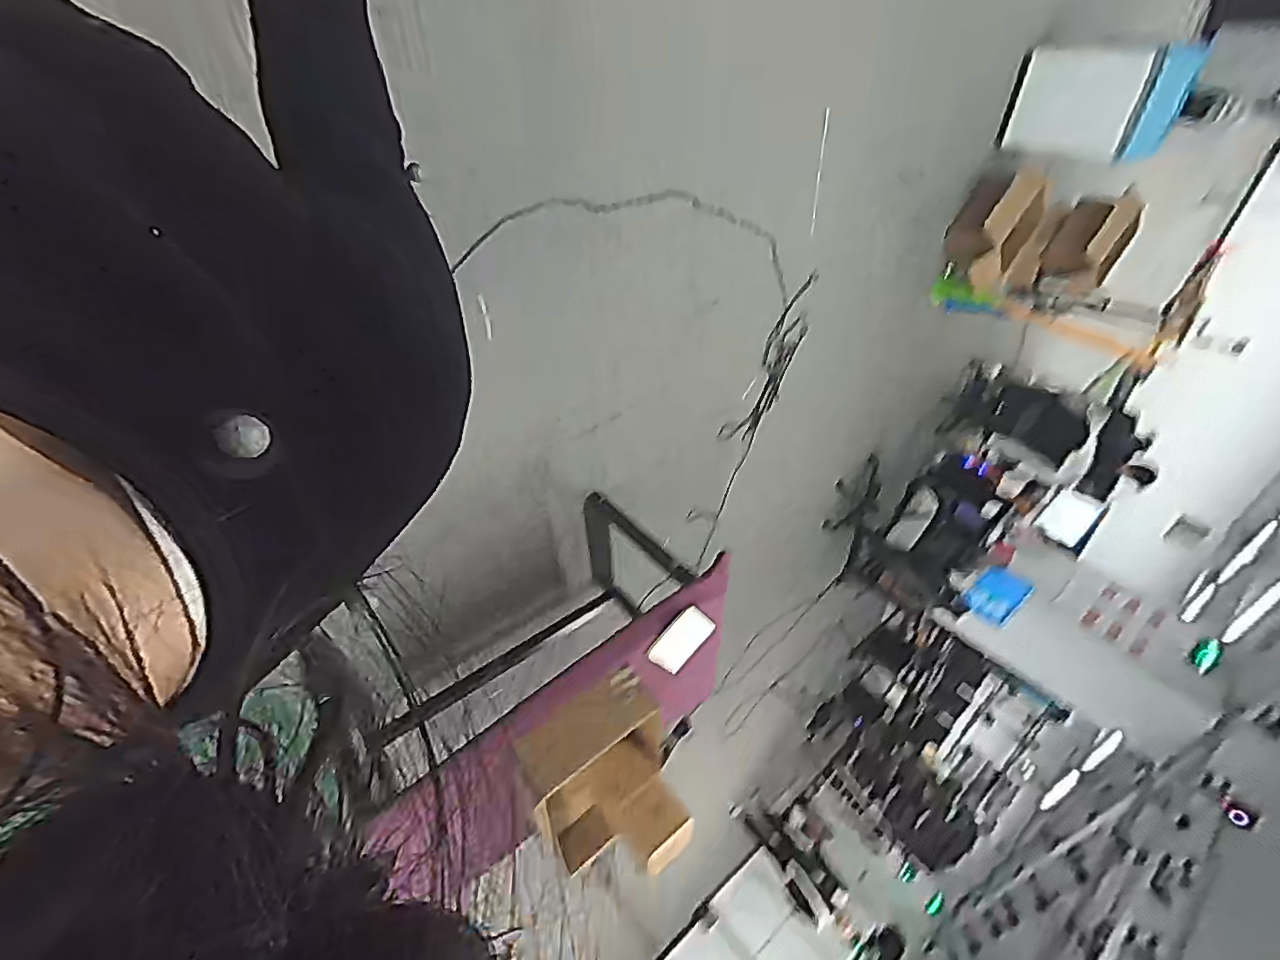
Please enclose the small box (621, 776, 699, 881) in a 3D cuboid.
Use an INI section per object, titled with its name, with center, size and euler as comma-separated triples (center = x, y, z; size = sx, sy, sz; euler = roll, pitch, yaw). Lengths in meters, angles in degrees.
[small box]
center = 0.056, 1.020, 1.598
size = 0.168, 0.176, 0.179
euler = -26, 133, -30
